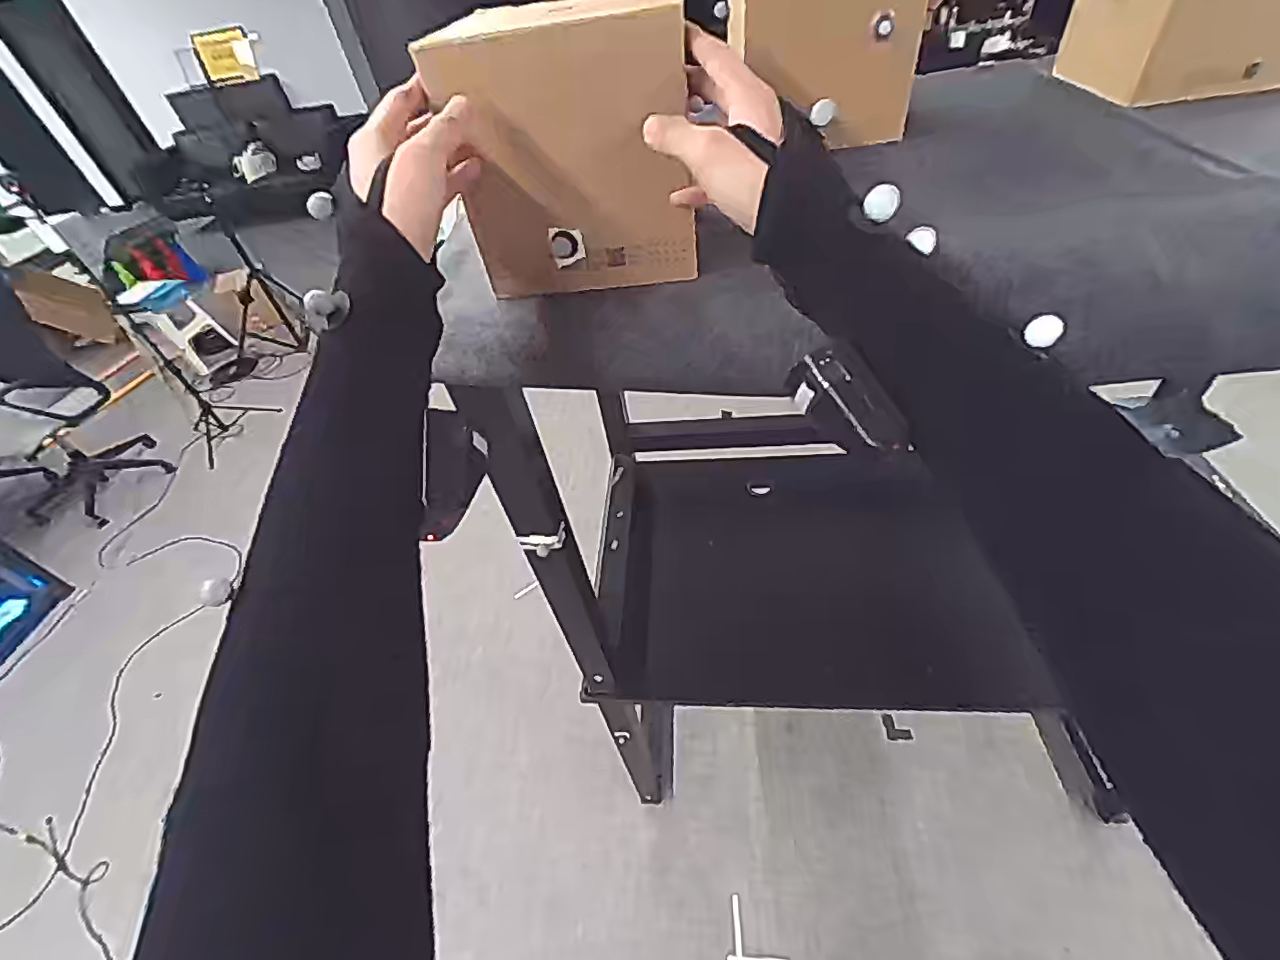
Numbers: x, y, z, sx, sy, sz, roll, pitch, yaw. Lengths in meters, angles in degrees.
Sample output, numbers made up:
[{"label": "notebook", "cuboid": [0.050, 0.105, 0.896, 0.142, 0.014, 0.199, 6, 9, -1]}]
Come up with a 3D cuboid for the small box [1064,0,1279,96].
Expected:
[{"label": "small box", "cuboid": [0.585, -0.510, 0.549, 0.168, 0.176, 0.179, -3, 45, 7]}]

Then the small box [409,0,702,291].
[{"label": "small box", "cuboid": [-0.041, -0.265, 0.415, 0.168, 0.176, 0.179, -5, 45, 6]}]
